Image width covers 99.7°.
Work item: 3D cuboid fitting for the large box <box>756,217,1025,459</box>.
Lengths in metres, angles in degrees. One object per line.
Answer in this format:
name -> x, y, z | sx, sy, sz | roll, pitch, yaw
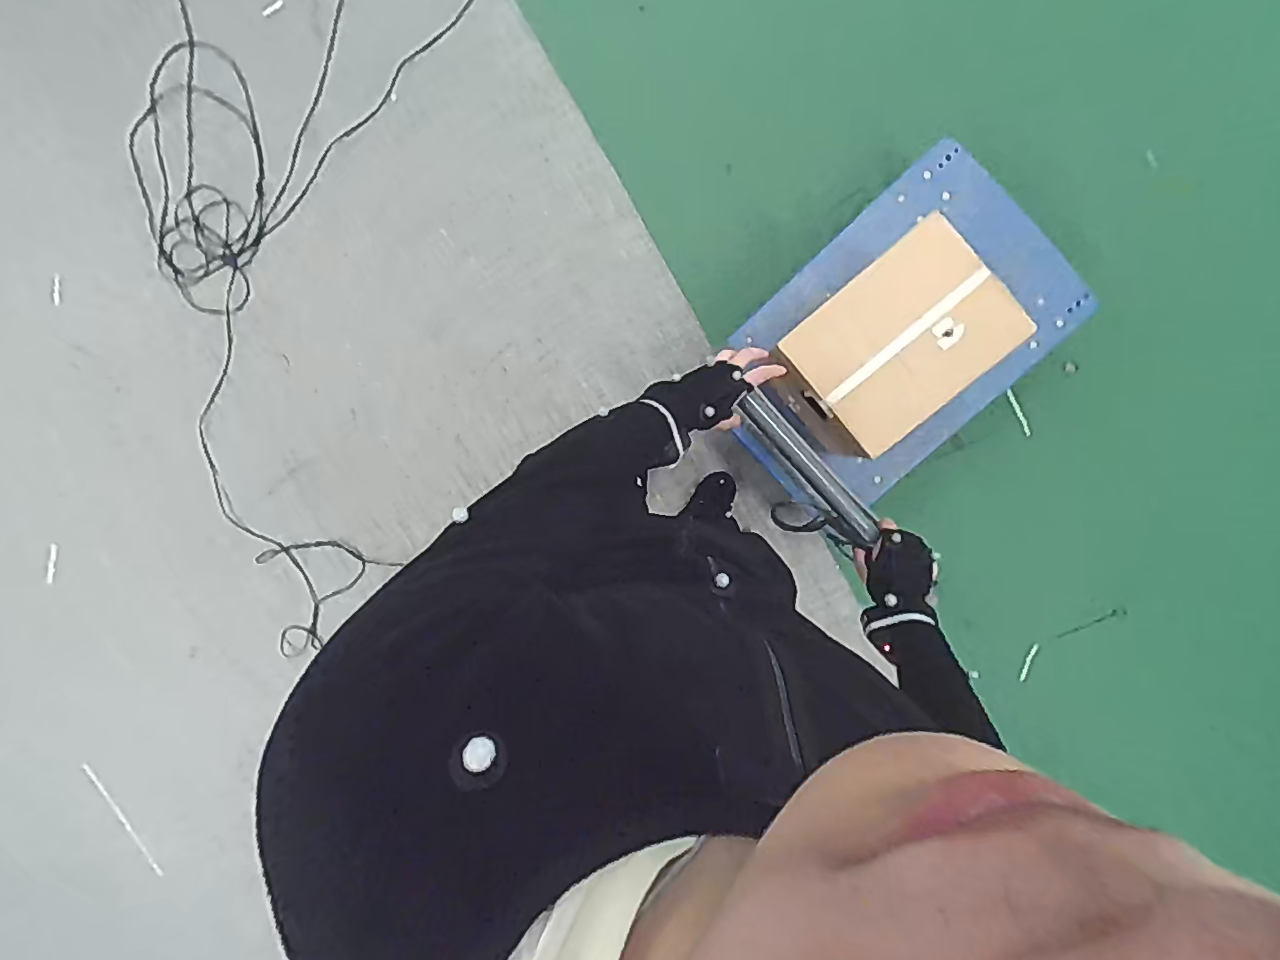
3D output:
large box -> 0.531, -0.289, 1.237 | 0.408, 0.320, 0.320 | -40, 91, 5
